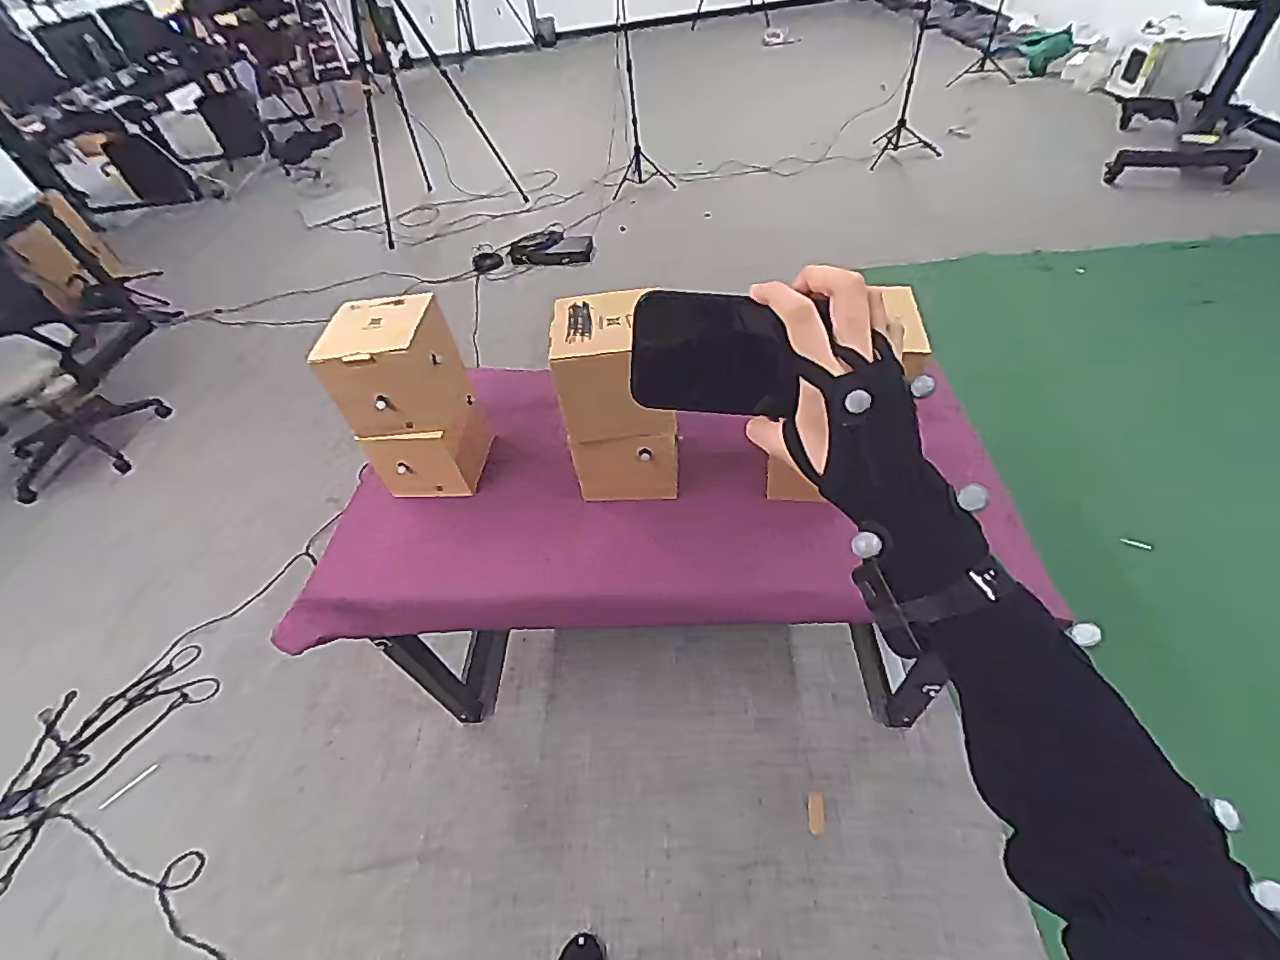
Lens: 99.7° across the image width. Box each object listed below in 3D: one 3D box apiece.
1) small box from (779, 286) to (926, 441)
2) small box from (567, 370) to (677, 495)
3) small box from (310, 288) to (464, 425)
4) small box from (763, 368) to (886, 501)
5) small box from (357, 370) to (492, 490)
[{"bbox_3d":[0.305,-0.174,0.816,0.179,0.176,0.168,4,49,10],"label":"small box"},{"bbox_3d":[-0.022,-0.085,1.000,0.179,0.176,0.168,-1,49,7],"label":"small box"},{"bbox_3d":[-0.425,-0.208,0.946,0.168,0.176,0.179,-4,49,4],"label":"small box"},{"bbox_3d":[0.315,-0.078,0.950,0.179,0.176,0.168,4,49,12],"label":"small box"},{"bbox_3d":[-0.408,-0.094,1.063,0.168,0.176,0.179,0,49,8],"label":"small box"}]
